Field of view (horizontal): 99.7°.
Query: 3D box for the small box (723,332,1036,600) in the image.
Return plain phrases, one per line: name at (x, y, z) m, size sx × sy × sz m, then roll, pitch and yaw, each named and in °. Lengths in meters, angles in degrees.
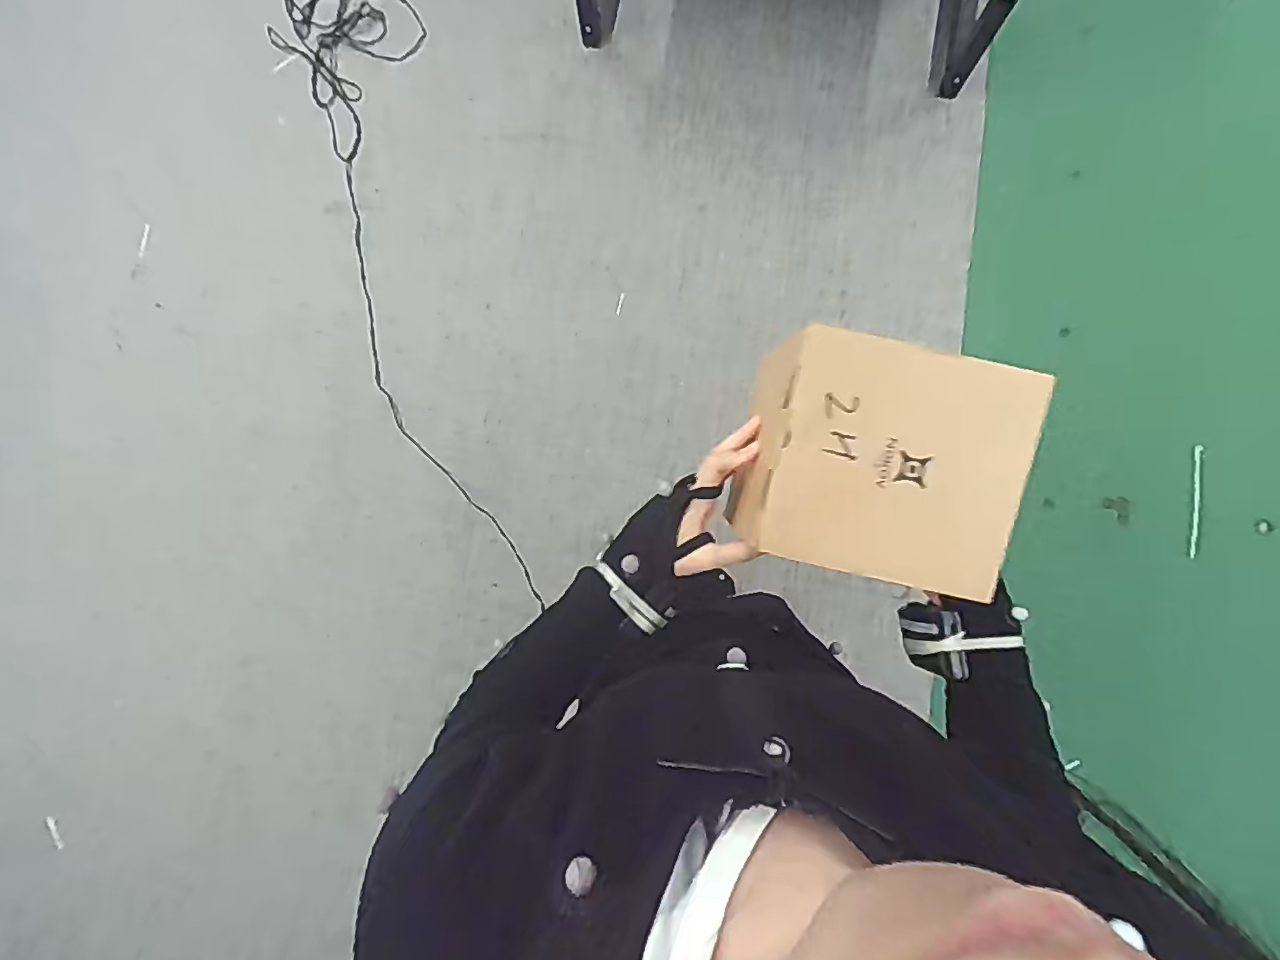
small box at (0.181, -0.014, 0.467) m, size 0.179 × 0.176 × 0.168 m, roll 12°, pitch 94°, yaw 1°
